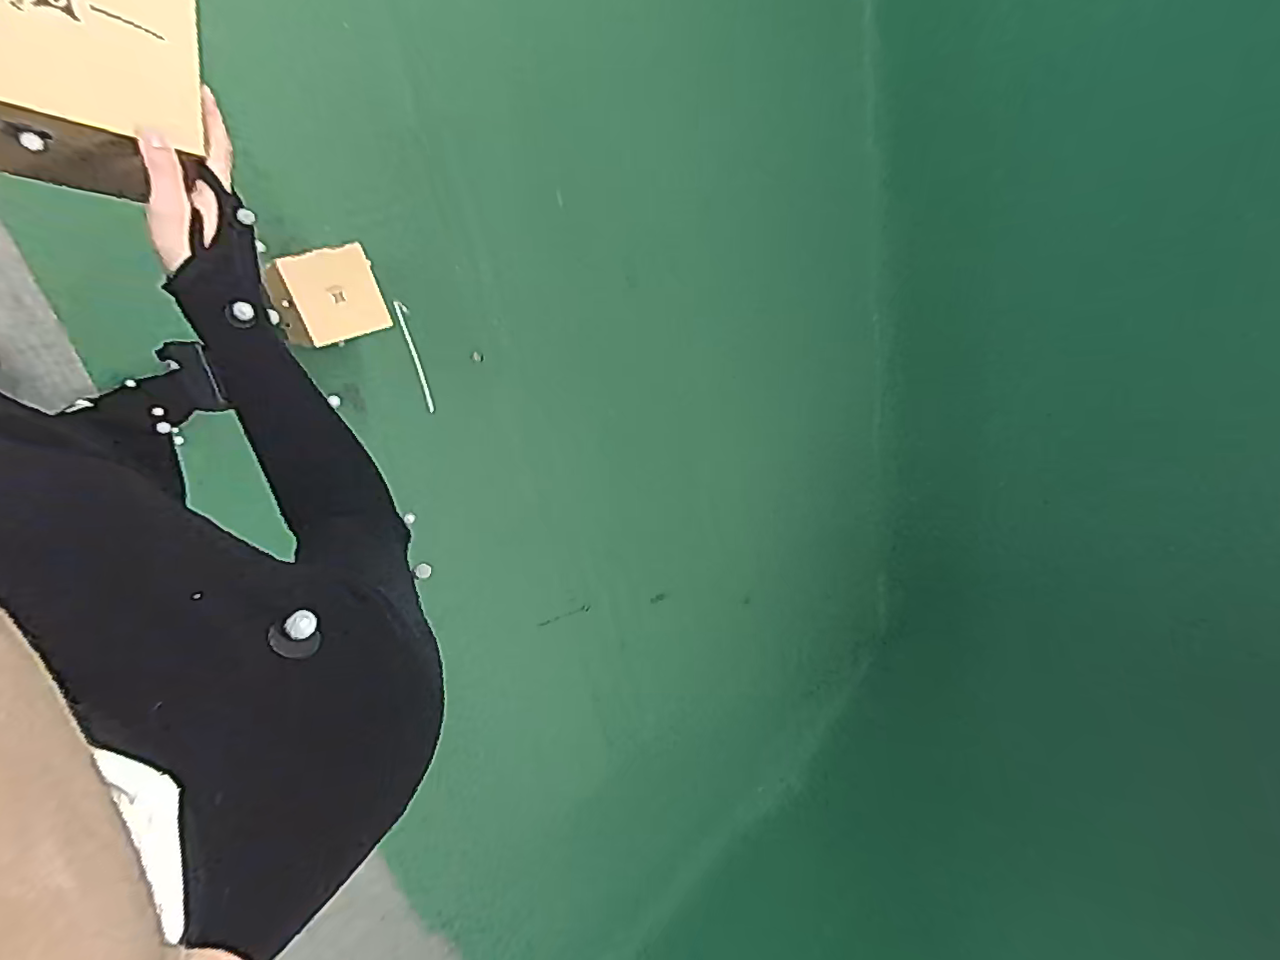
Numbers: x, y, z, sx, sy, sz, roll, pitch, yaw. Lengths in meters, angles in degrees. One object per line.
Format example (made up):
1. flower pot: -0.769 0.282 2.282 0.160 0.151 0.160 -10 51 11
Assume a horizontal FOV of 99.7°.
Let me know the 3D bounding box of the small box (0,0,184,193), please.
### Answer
1. small box: -0.475 -0.348 0.417 0.179 0.176 0.168 -6 99 -44

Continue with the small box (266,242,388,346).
1. small box: -0.679 -0.398 1.173 0.168 0.176 0.179 -29 116 -30

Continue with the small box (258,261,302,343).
1. small box: -0.783 -0.434 1.293 0.168 0.176 0.179 -27 116 -32
